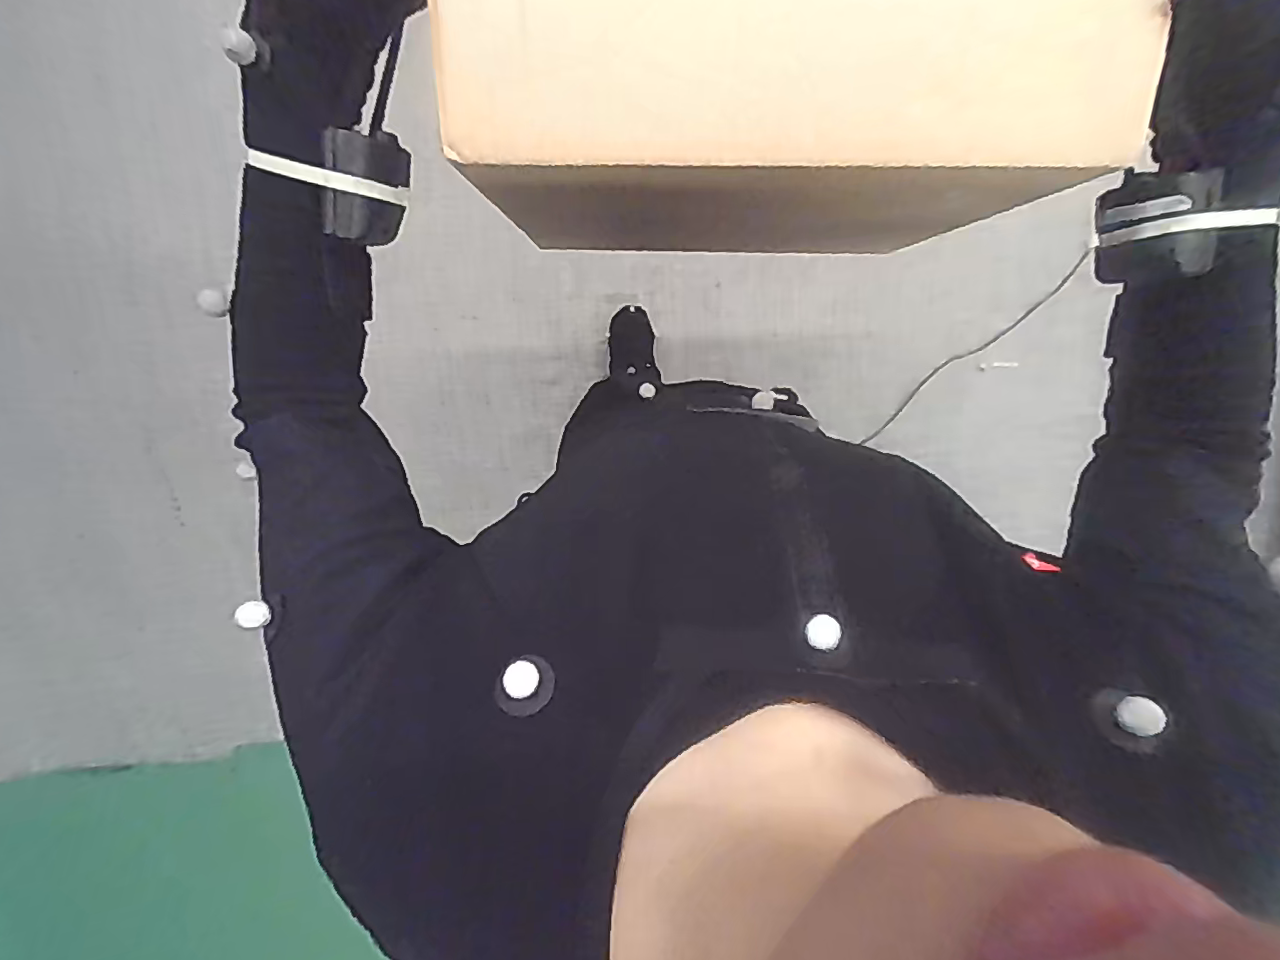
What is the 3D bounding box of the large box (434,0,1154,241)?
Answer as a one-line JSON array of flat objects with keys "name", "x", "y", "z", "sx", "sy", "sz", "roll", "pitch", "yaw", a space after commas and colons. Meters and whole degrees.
[{"name": "large box", "x": 0.080, "y": -0.380, "z": 0.419, "sx": 0.408, "sy": 0.320, "sz": 0.320, "roll": 0, "pitch": 105, "yaw": -1}]
